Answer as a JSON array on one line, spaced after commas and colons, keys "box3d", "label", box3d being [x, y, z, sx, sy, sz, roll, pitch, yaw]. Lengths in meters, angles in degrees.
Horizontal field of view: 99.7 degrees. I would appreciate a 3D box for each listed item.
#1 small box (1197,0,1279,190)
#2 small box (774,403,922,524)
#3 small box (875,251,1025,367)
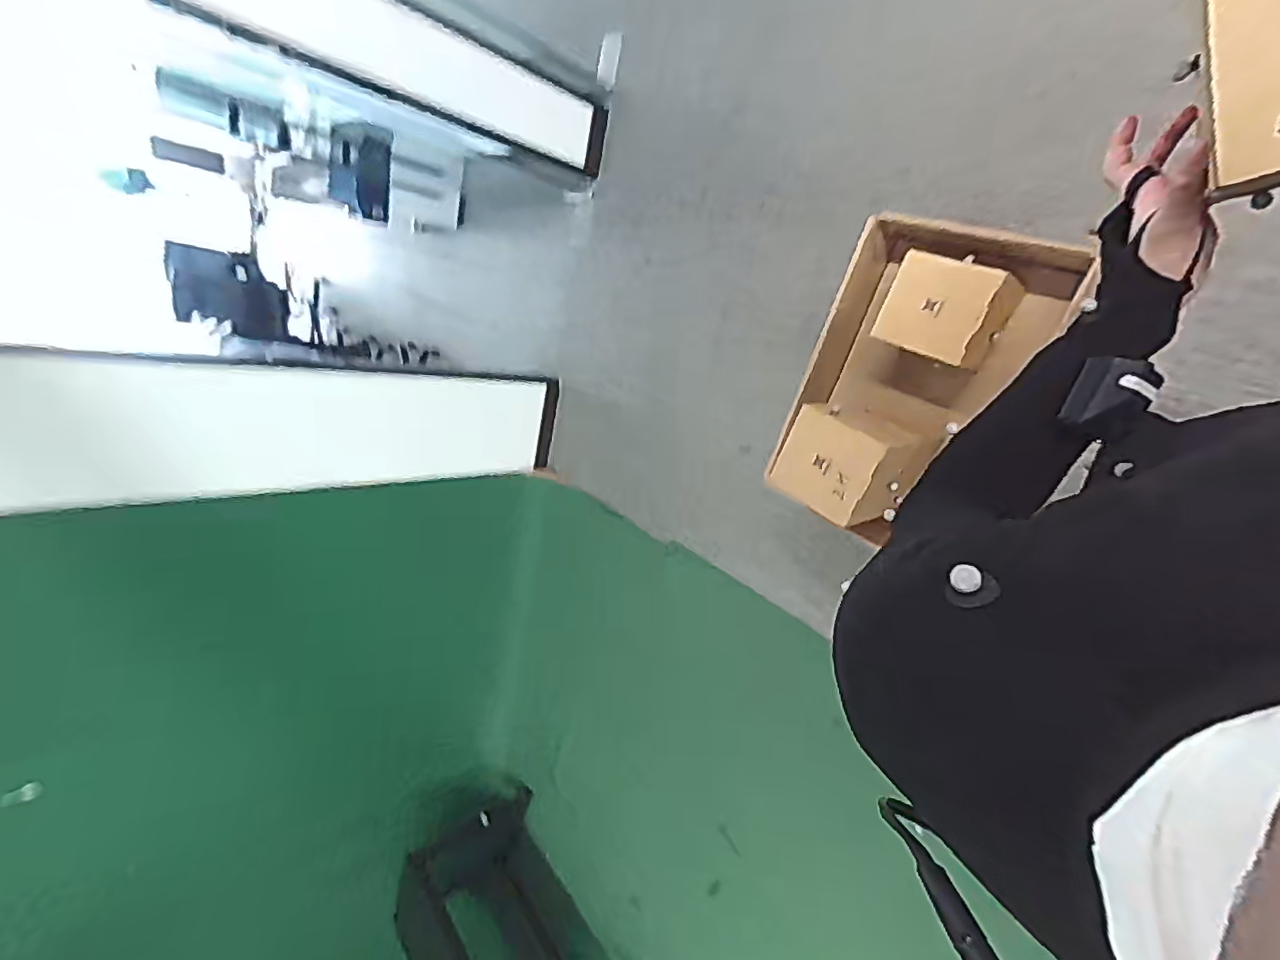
[{"box3d": [0.471, -0.303, 0.340, 0.168, 0.176, 0.179, -4, 104, 46], "label": "small box"}, {"box3d": [0.399, -0.036, 1.041, 0.179, 0.176, 0.168, 38, 120, 36], "label": "small box"}, {"box3d": [0.598, -0.324, 1.044, 0.179, 0.176, 0.168, 35, 118, 37], "label": "small box"}]
